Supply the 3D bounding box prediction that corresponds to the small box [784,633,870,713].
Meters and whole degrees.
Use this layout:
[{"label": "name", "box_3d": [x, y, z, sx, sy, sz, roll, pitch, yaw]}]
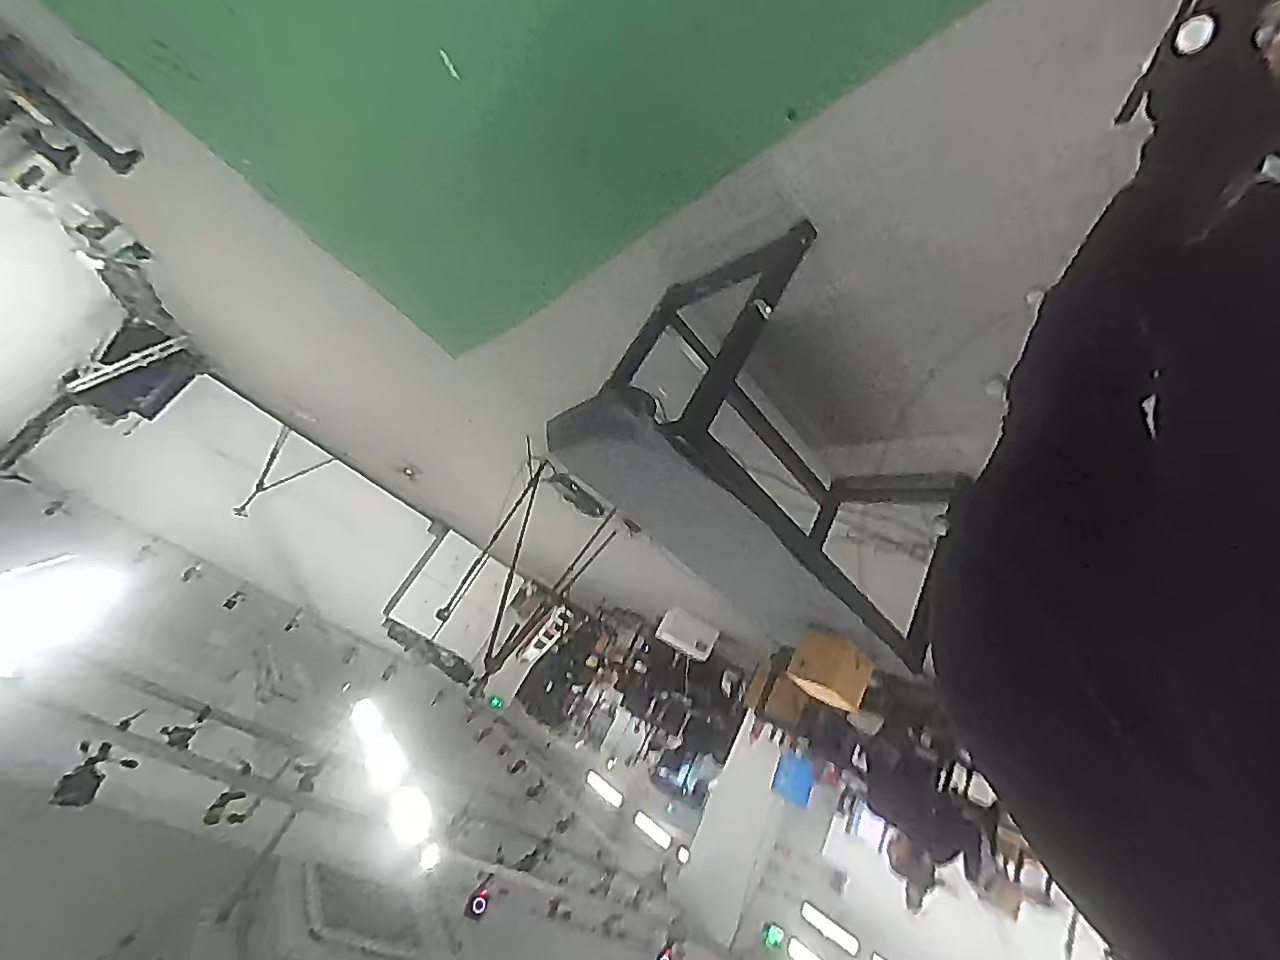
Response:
[{"label": "small box", "box_3d": [0.607, 0.615, 1.749, 0.168, 0.176, 0.179, 42, 157, -25]}]
